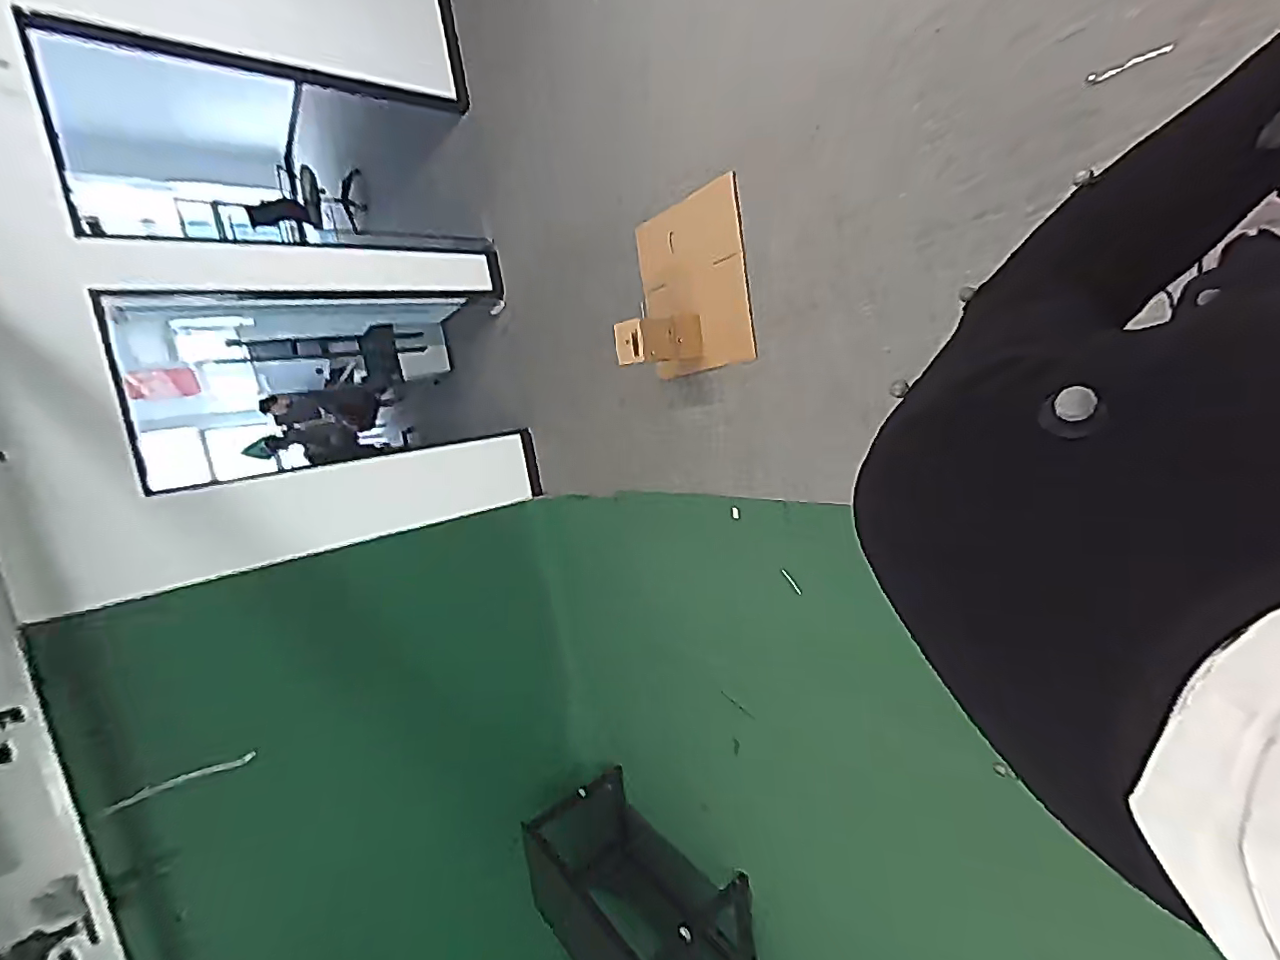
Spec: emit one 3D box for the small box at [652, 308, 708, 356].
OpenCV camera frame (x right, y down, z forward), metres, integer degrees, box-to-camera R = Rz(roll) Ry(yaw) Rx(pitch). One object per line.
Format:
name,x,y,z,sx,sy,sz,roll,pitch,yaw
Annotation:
small box,0.173,-0.629,2.293,0.168,0.176,0.179,9,109,52
